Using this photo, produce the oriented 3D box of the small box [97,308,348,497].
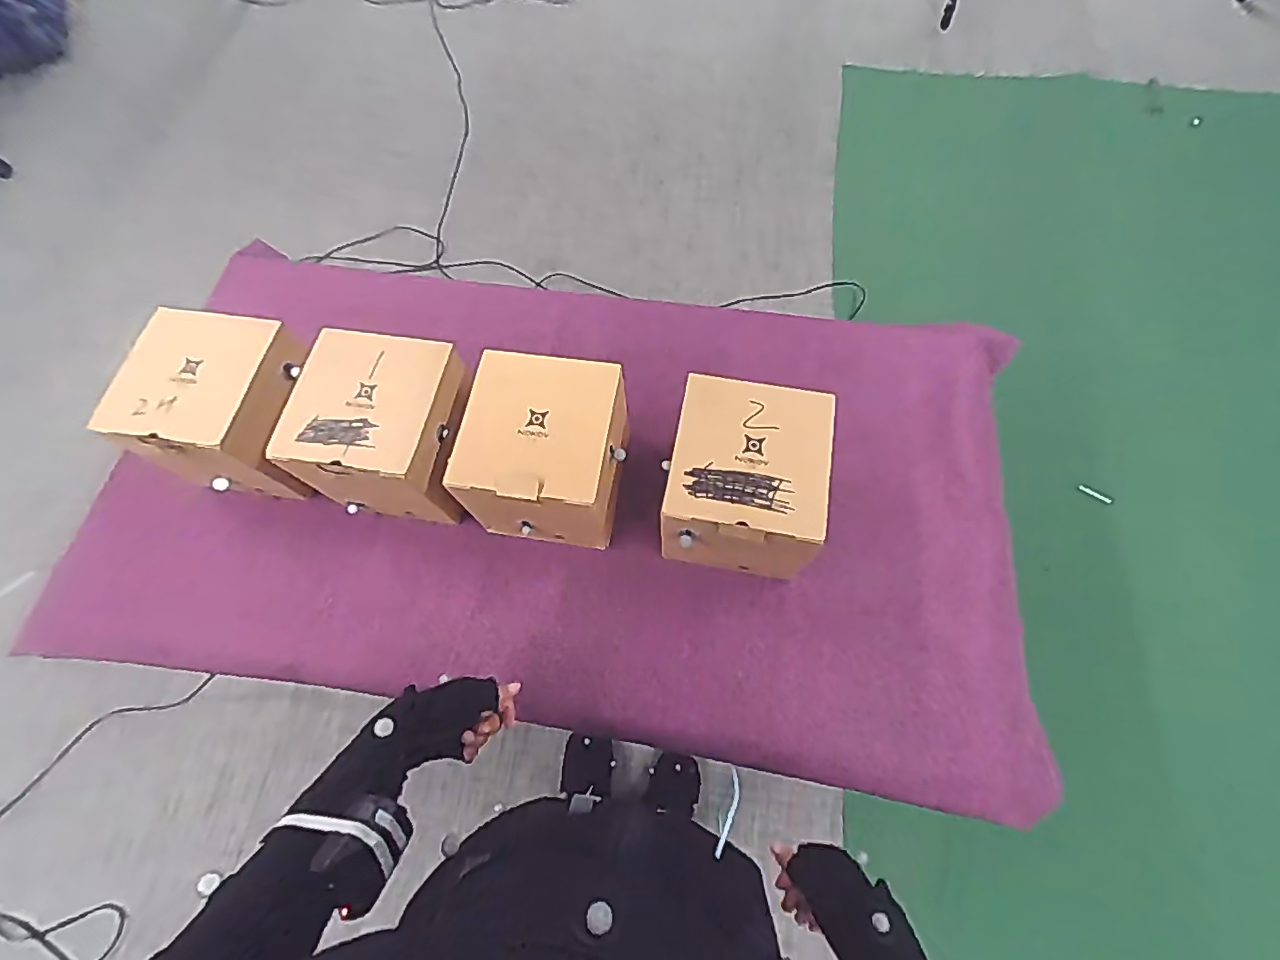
[{"bbox_3d":[-0.521,-0.095,0.711,0.168,0.176,0.179,7,69,6],"label":"small box"}]
